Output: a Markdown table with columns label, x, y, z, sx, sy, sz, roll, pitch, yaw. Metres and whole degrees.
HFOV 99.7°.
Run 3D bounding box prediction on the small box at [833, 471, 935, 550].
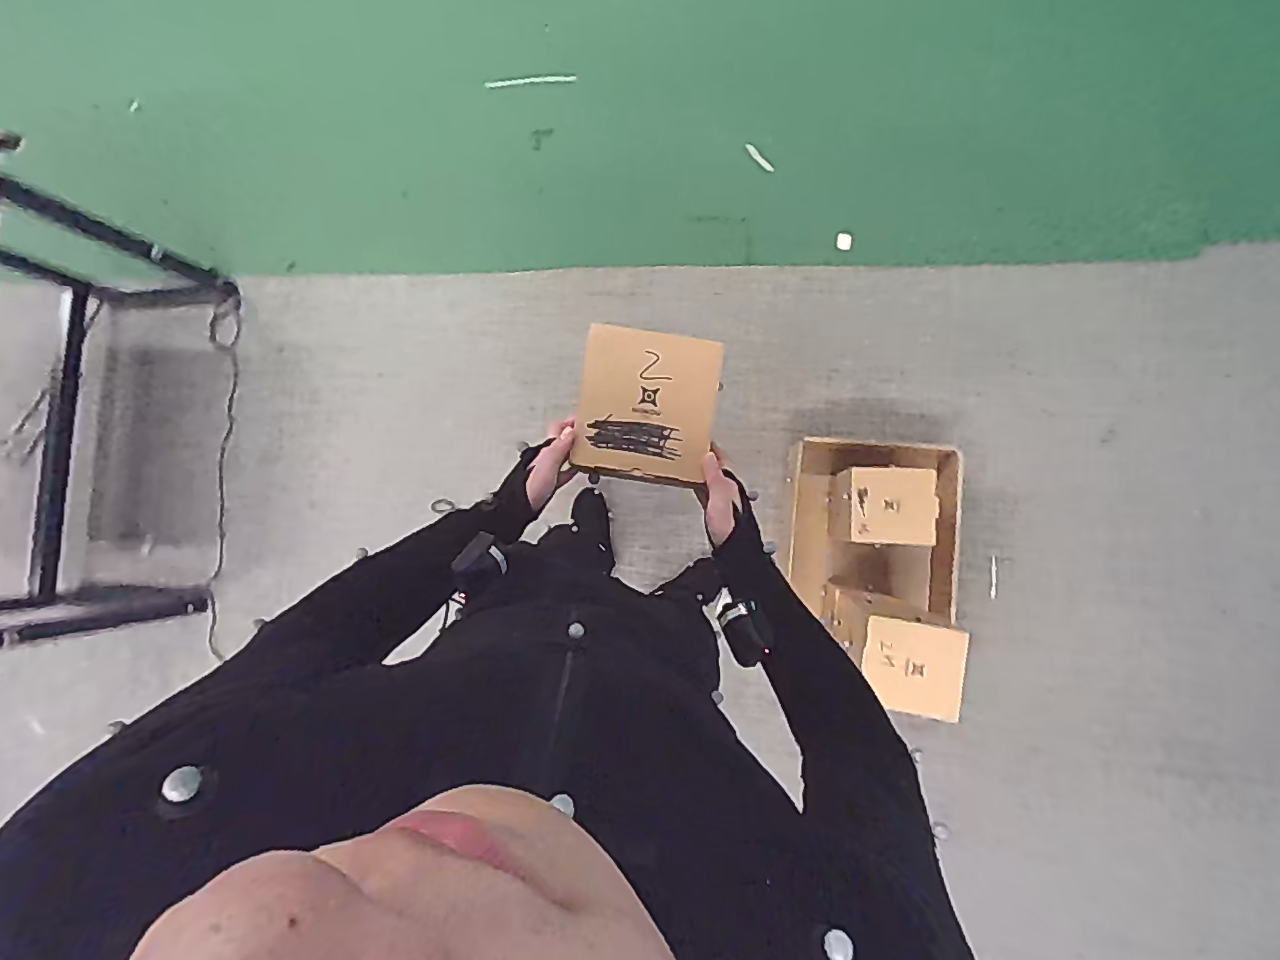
| label | x | y | z | sx | sy | sz | roll | pitch | yaw |
| --- | --- | --- | --- | --- | --- | --- | --- | --- | --- |
| small box | 0.560 | 0.071 | 1.254 | 0.179 | 0.176 | 0.168 | 2 | 85 | 9 |

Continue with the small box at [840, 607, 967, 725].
| label | x | y | z | sx | sy | sz | roll | pitch | yaw |
| --- | --- | --- | --- | --- | --- | --- | --- | --- | --- |
| small box | 0.514 | 0.358 | 1.076 | 0.179 | 0.176 | 0.168 | 9 | 87 | 11 |

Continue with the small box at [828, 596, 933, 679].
| label | x | y | z | sx | sy | sz | roll | pitch | yaw |
| --- | --- | --- | --- | --- | --- | --- | --- | --- | --- |
| small box | 0.544 | 0.369 | 1.238 | 0.179 | 0.176 | 0.168 | 9 | 88 | 11 |
